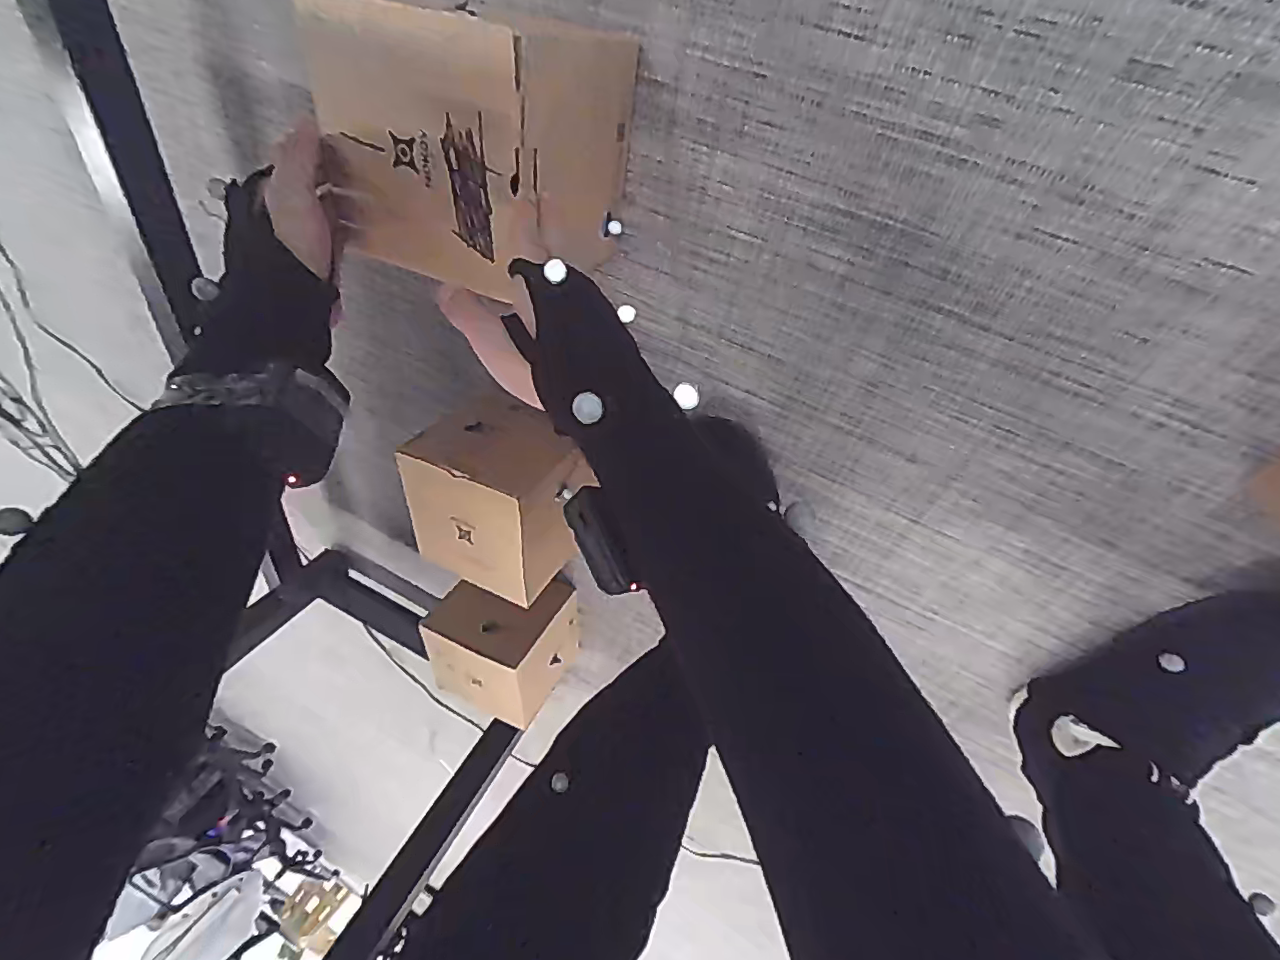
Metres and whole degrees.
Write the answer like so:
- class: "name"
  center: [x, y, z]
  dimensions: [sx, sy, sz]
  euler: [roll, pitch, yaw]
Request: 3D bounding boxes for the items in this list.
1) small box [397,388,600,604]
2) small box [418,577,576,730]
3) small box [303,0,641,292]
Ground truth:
- class: "small box"
  center: [-0.159, 0.010, 0.661]
  dimensions: [0.168, 0.176, 0.179]
  euler: [20, 130, 17]
- class: "small box"
  center: [-0.213, 0.251, 0.860]
  dimensions: [0.179, 0.176, 0.168]
  euler: [18, 129, 18]
- class: "small box"
  center: [-0.115, -0.274, 0.429]
  dimensions: [0.179, 0.176, 0.168]
  euler: [23, 131, 14]
